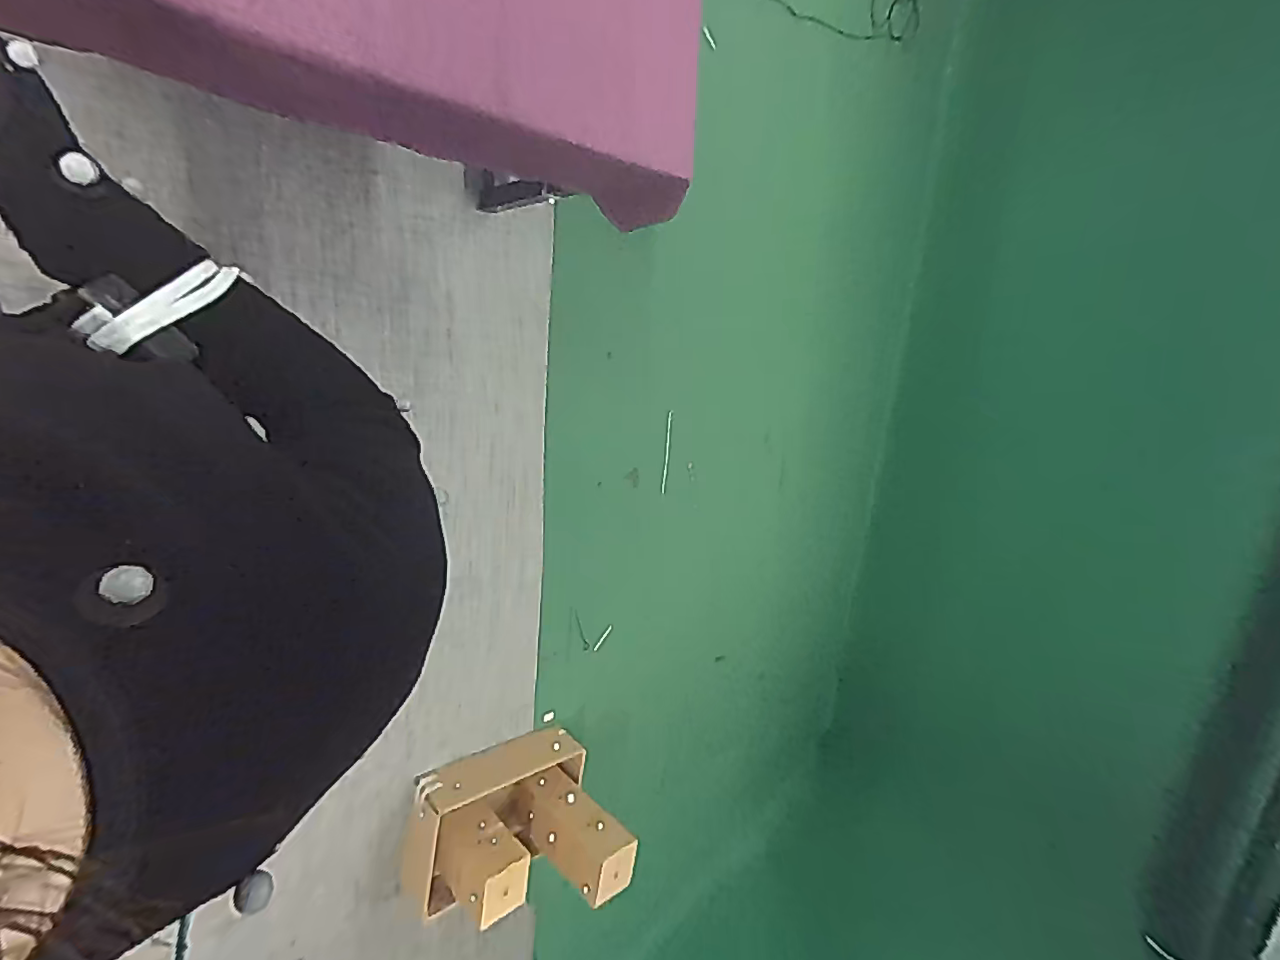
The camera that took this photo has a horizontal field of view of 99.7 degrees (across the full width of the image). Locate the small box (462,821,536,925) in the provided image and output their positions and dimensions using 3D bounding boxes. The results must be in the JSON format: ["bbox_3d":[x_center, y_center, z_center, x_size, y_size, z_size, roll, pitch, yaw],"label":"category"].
[{"bbox_3d":[-0.459,1.262,1.749,0.168,0.176,0.179,0,100,-47],"label":"small box"}]

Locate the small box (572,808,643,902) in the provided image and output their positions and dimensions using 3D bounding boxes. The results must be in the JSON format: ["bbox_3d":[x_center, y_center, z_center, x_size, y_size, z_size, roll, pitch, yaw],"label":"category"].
[{"bbox_3d":[-0.118,1.293,1.878,0.168,0.176,0.179,4,99,-46],"label":"small box"}]

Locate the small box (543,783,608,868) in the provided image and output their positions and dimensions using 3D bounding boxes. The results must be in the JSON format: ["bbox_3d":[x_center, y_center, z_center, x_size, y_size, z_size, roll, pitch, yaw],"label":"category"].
[{"bbox_3d":[-0.238,1.262,1.987,0.168,0.176,0.179,7,96,-46],"label":"small box"}]
